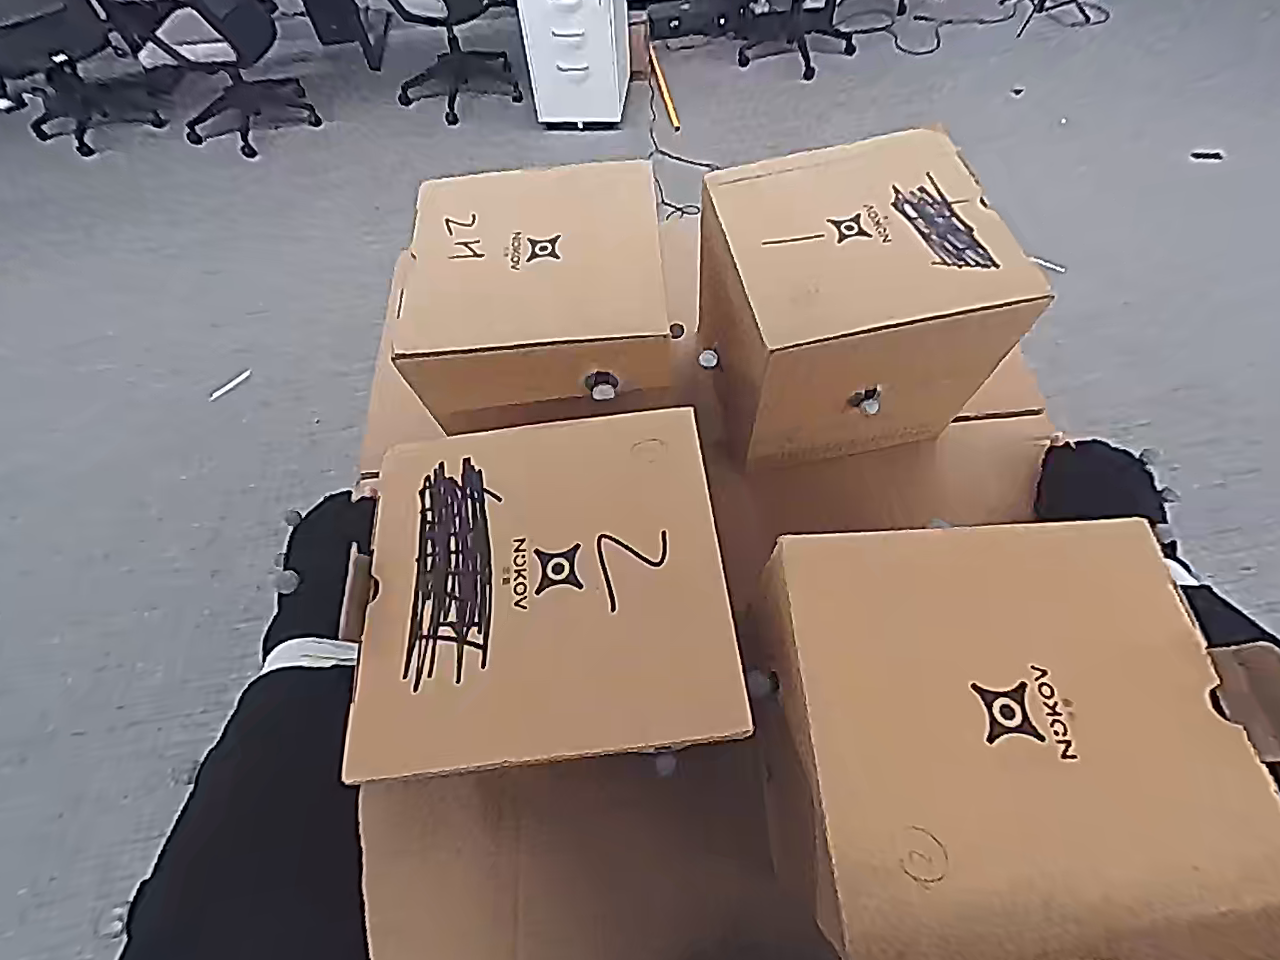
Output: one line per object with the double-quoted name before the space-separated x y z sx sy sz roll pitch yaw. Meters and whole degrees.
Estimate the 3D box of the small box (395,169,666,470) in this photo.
"small box" -0.070 -0.120 0.449 0.179 0.176 0.168 -5 63 3
